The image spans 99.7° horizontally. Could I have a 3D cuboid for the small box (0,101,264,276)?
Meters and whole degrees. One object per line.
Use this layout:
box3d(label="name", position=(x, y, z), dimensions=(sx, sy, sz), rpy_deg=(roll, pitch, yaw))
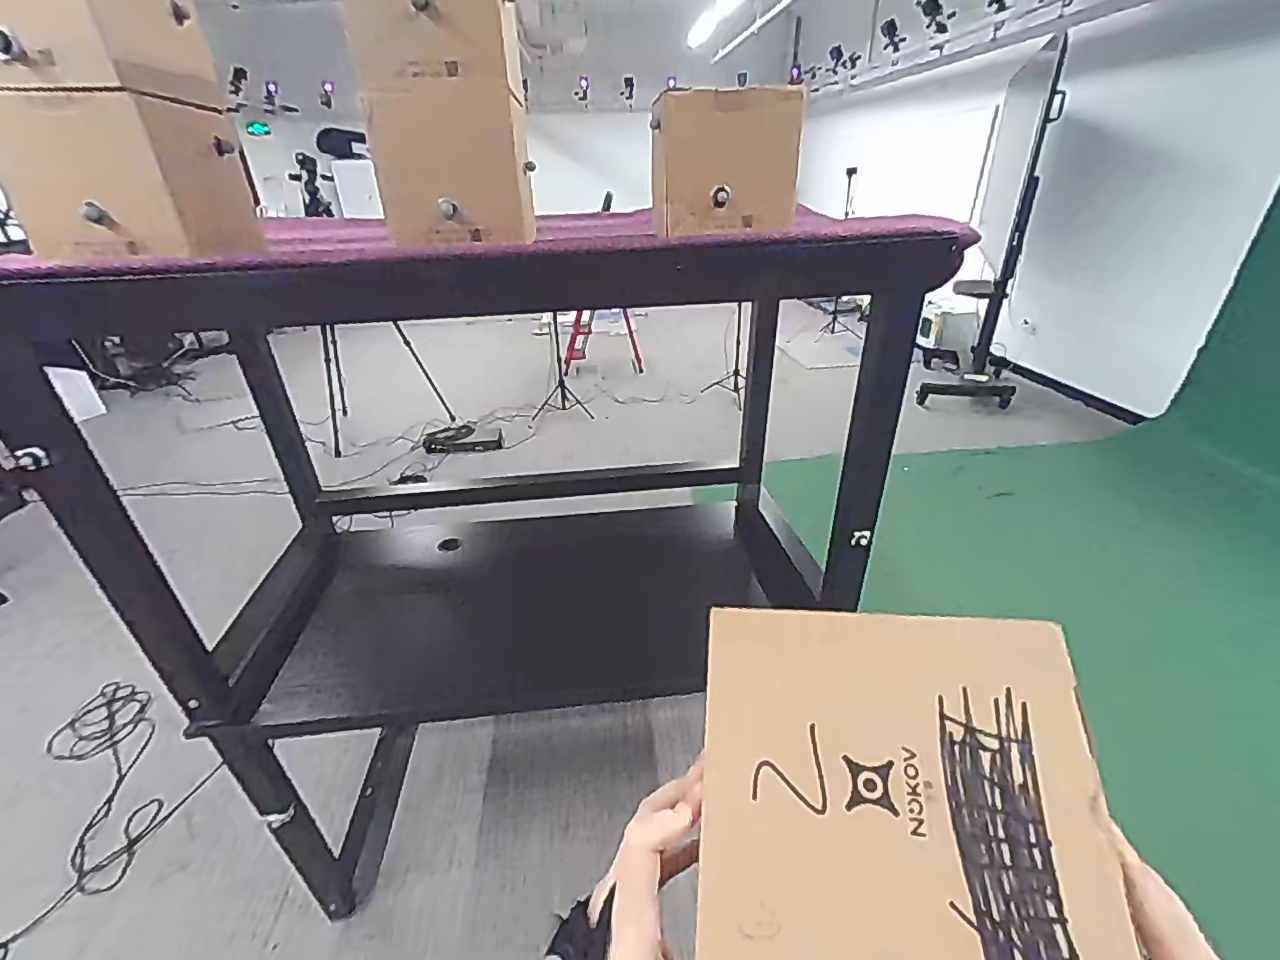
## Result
box3d(label="small box", position=(-0.598, -0.347, 0.655), dimensions=(0.168, 0.176, 0.179), rpy_deg=(-5, 29, -5))

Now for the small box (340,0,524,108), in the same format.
box3d(label="small box", position=(-0.233, -0.530, 0.628), dimensions=(0.168, 0.176, 0.179), rpy_deg=(-4, 31, -4))

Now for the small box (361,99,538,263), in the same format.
box3d(label="small box", position=(-0.228, -0.383, 0.701), dimensions=(0.168, 0.176, 0.179), rpy_deg=(-4, 31, -4))

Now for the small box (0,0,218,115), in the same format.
box3d(label="small box", position=(-0.599, -0.488, 0.575), dimensions=(0.168, 0.176, 0.179), rpy_deg=(-4, 30, -2))

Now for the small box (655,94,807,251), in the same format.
box3d(label="small box", position=(0.108, -0.411, 0.731), dimensions=(0.168, 0.176, 0.179), rpy_deg=(-4, 31, -3))
